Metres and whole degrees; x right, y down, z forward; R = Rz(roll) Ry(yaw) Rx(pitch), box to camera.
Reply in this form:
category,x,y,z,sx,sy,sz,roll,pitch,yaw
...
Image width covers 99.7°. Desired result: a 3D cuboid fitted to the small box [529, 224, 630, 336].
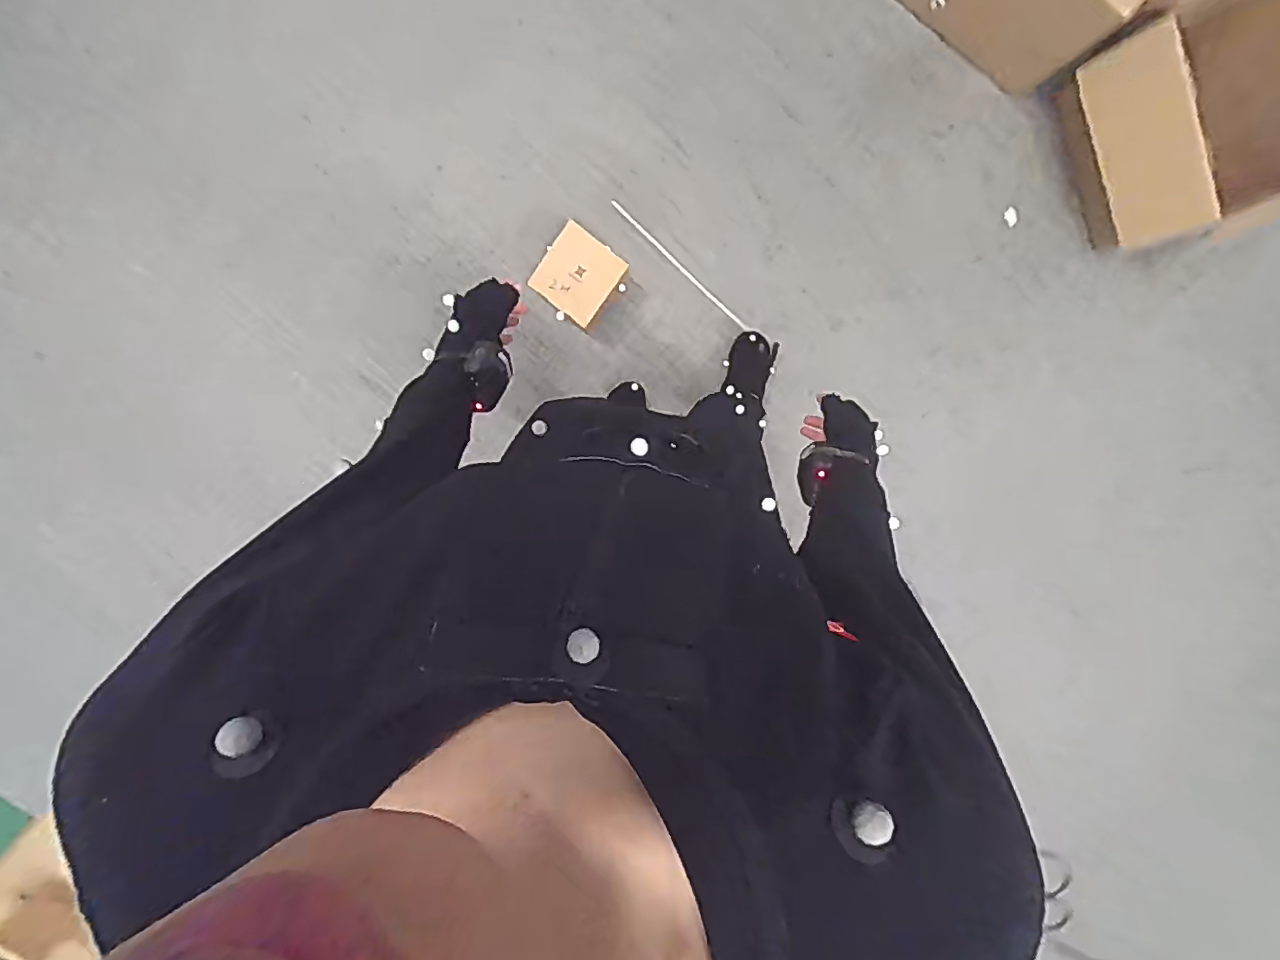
category,x,y,z,sx,sy,sz,roll,pitch,yaw
small box,-0.140,-0.468,1.295,0.168,0.176,0.179,37,98,-6

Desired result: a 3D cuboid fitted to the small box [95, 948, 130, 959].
category,x,y,z,sx,sy,sz,roll,pitch,yaw
small box,-1.666,1.590,1.644,0.179,0.176,0.168,-44,99,8
